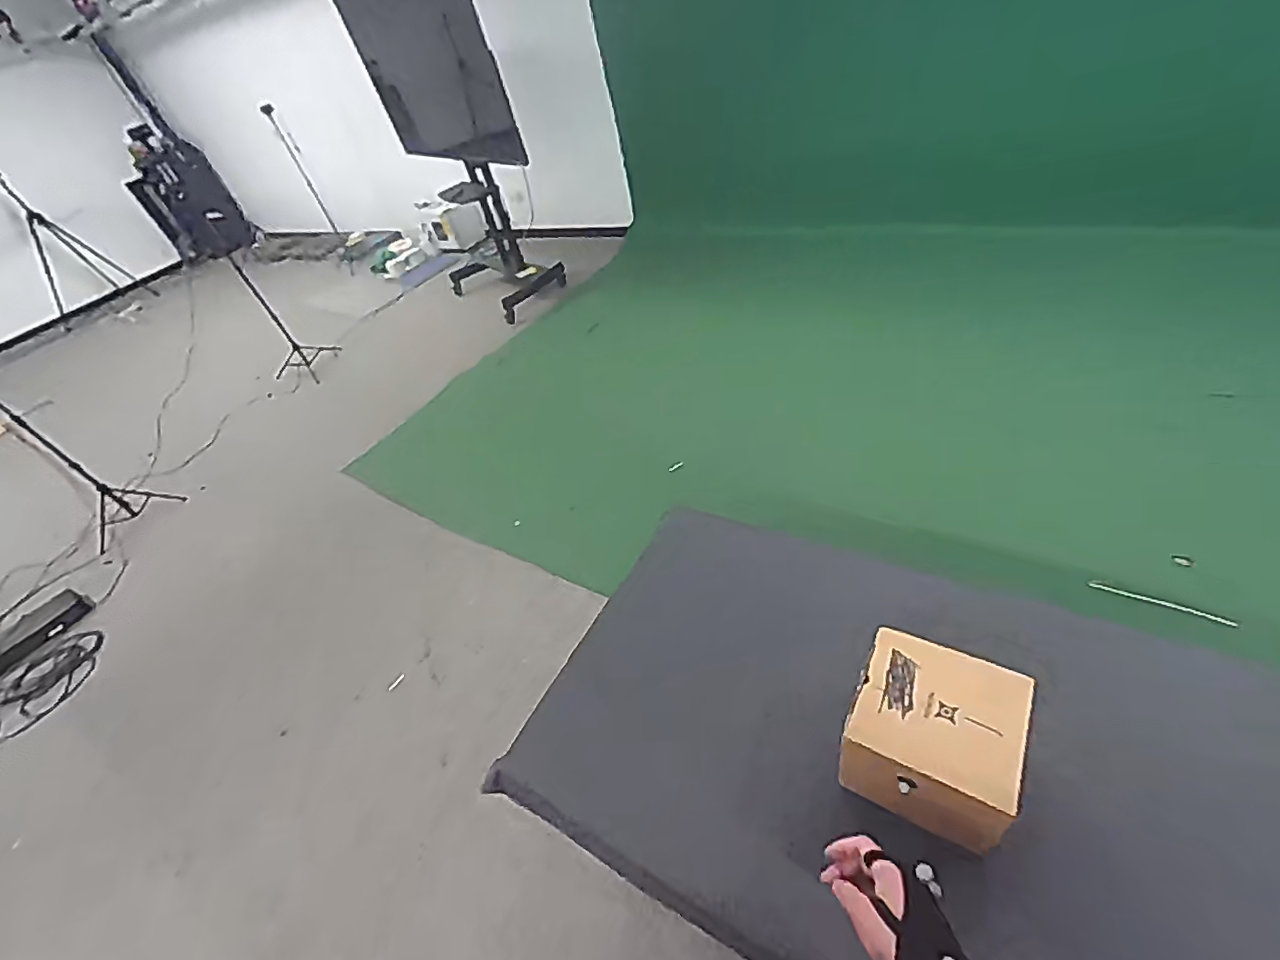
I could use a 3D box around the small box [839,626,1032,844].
[{"bbox_3d":[0.364,0.323,0.688,0.179,0.176,0.168,16,52,30],"label":"small box"}]
